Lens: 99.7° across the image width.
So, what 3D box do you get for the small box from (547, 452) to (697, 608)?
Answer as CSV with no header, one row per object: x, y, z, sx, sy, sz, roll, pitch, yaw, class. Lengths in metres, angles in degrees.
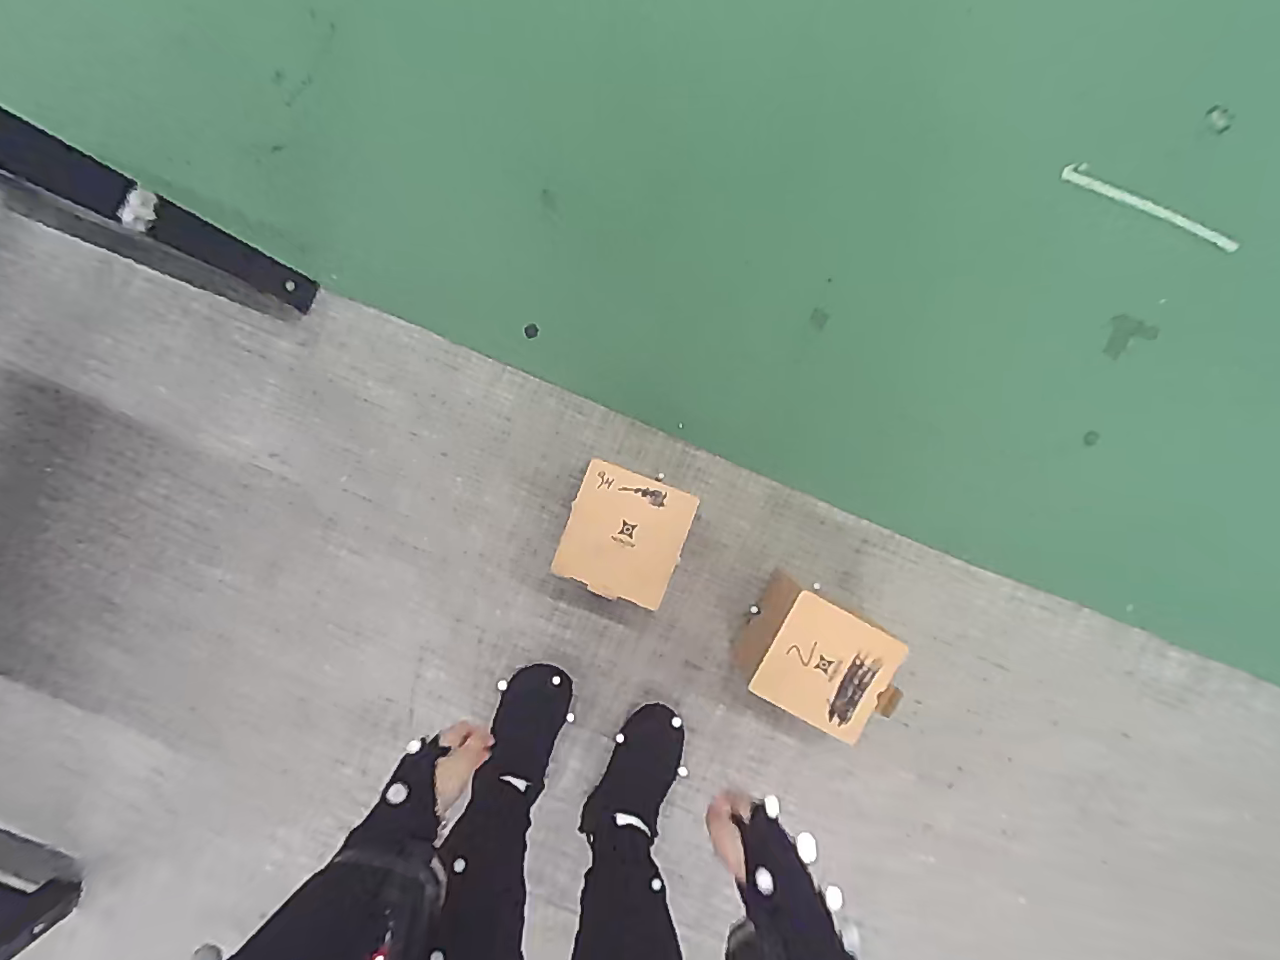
-0.022,0.067,0.828,0.168,0.176,0.179,21,92,0,small box
